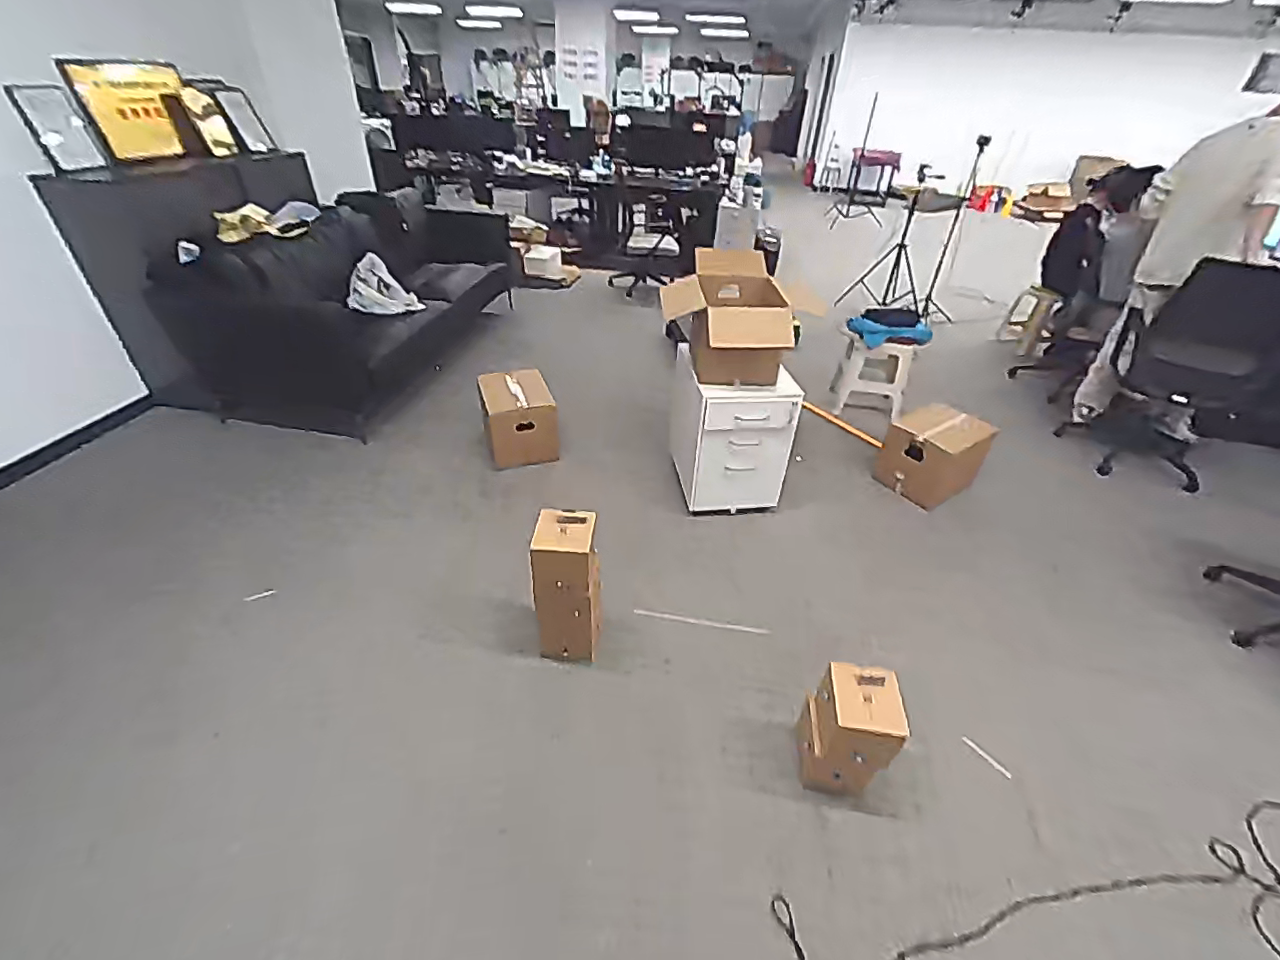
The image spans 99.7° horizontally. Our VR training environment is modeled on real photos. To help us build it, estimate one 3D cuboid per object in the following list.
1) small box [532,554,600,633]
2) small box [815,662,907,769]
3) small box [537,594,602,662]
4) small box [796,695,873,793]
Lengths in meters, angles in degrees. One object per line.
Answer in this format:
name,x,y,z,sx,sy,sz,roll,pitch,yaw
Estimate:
small box,-0.223,0.355,1.682,0.179,0.176,0.168,4,35,4
small box,0.551,0.599,1.377,0.168,0.176,0.179,6,38,6
small box,-0.227,0.480,1.786,0.179,0.176,0.168,7,36,5
small box,0.530,0.725,1.481,0.168,0.176,0.179,7,37,5
